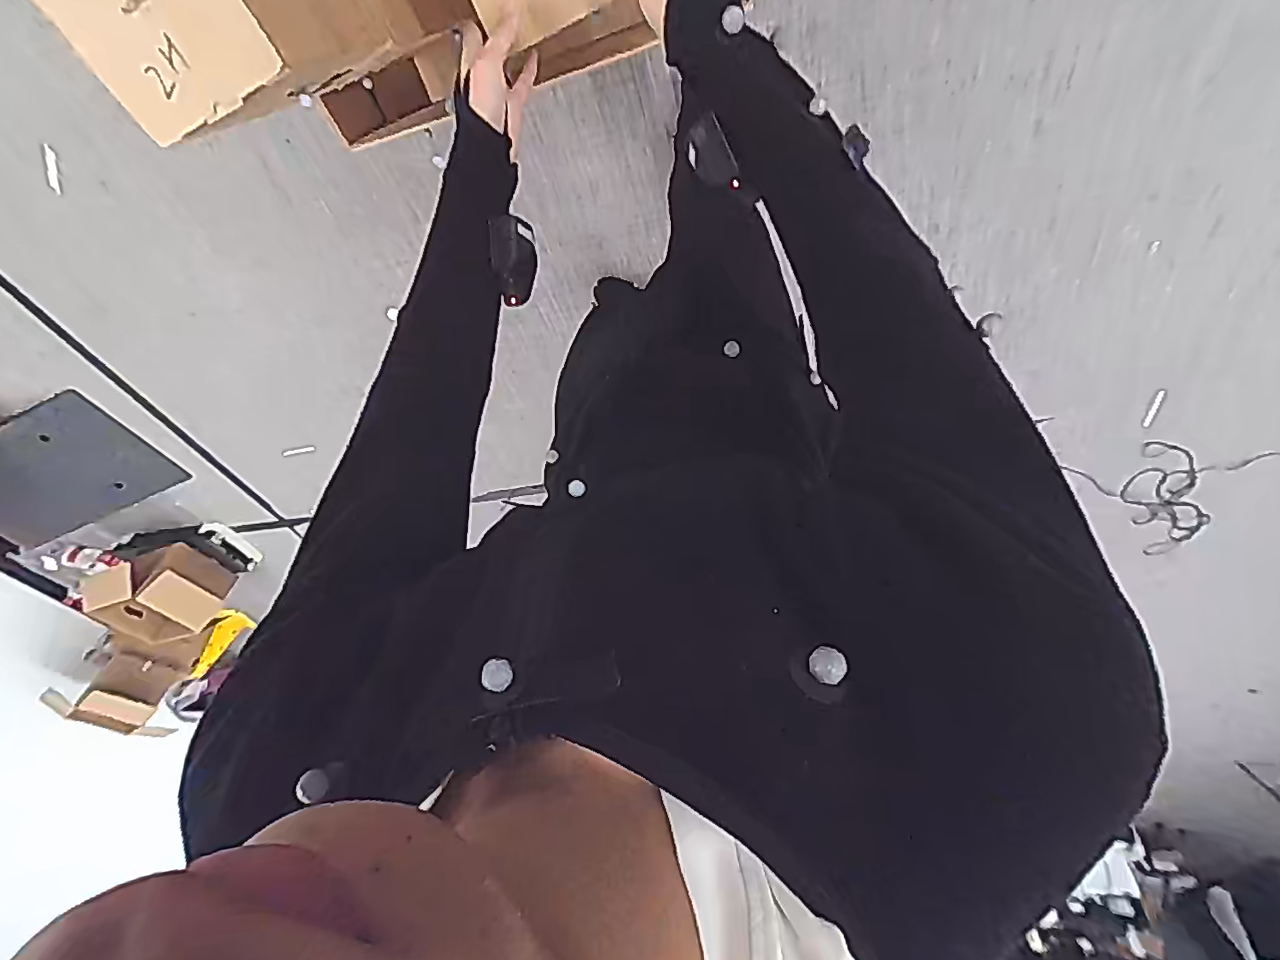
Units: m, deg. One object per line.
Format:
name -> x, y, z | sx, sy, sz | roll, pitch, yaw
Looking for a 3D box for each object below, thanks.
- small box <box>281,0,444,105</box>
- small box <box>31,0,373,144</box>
small box -> -0.340, -0.540, 0.569 | 0.168, 0.176, 0.179 | -10, 132, 19
small box -> -0.373, -0.425, 0.454 | 0.168, 0.176, 0.179 | -11, 132, 20
